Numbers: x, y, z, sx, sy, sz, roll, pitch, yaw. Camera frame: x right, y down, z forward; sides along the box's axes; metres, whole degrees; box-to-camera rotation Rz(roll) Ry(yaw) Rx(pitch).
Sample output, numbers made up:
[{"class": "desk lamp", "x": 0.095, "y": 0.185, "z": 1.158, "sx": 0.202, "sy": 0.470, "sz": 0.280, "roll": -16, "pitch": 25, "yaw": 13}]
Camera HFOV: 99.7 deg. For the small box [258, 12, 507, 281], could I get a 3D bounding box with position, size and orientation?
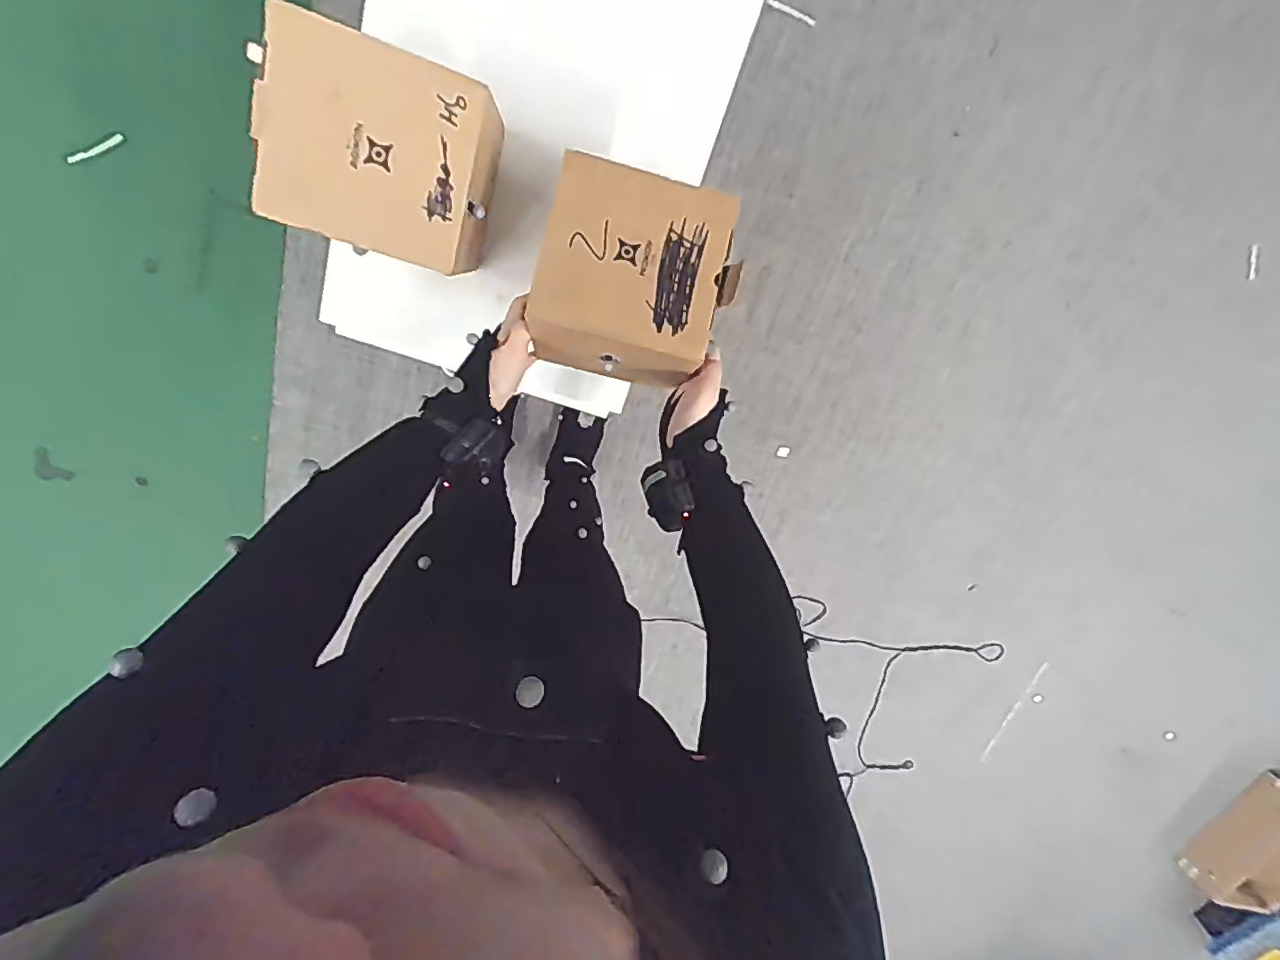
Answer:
[{"class": "small box", "x": -0.246, "y": -0.313, "z": 0.552, "sx": 0.179, "sy": 0.176, "sz": 0.168, "roll": 14, "pitch": 109, "yaw": -14}]
